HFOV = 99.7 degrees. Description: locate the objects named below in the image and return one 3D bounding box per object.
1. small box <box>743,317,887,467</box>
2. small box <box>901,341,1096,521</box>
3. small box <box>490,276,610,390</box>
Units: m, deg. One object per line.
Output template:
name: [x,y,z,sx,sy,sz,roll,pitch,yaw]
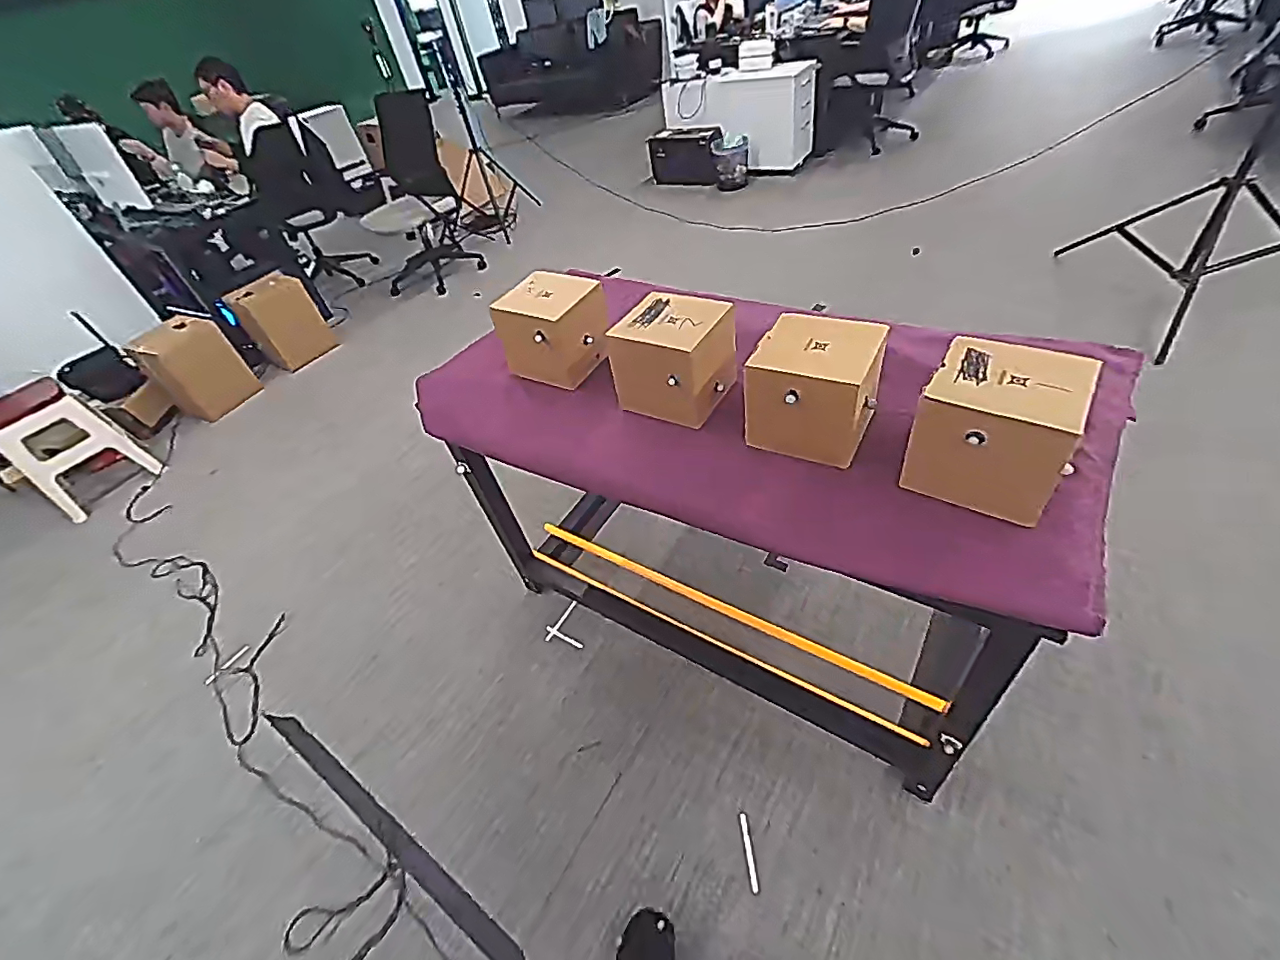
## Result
small box: [0.285,-0.144,0.892,0.179,0.176,0.168,16,51,28]
small box: [0.491,-0.069,0.760,0.179,0.176,0.168,22,53,31]
small box: [-0.183,-0.314,1.167,0.179,0.176,0.168,18,51,25]
